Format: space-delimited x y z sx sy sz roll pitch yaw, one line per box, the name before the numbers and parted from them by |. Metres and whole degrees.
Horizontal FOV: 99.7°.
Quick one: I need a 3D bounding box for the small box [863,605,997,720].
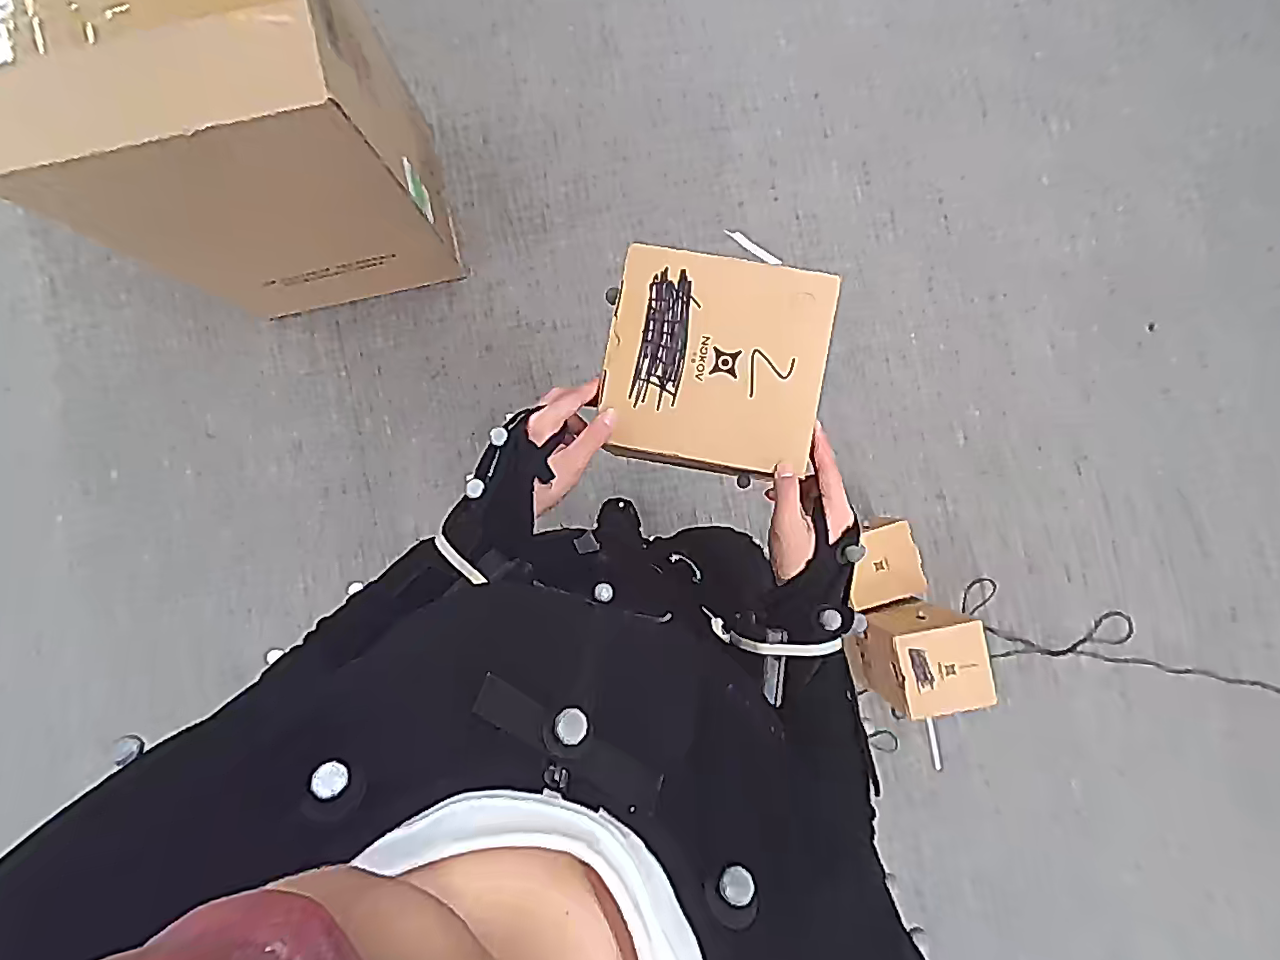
small box | 0.577 0.364 1.105 0.179 0.176 0.168 -10 89 -2
